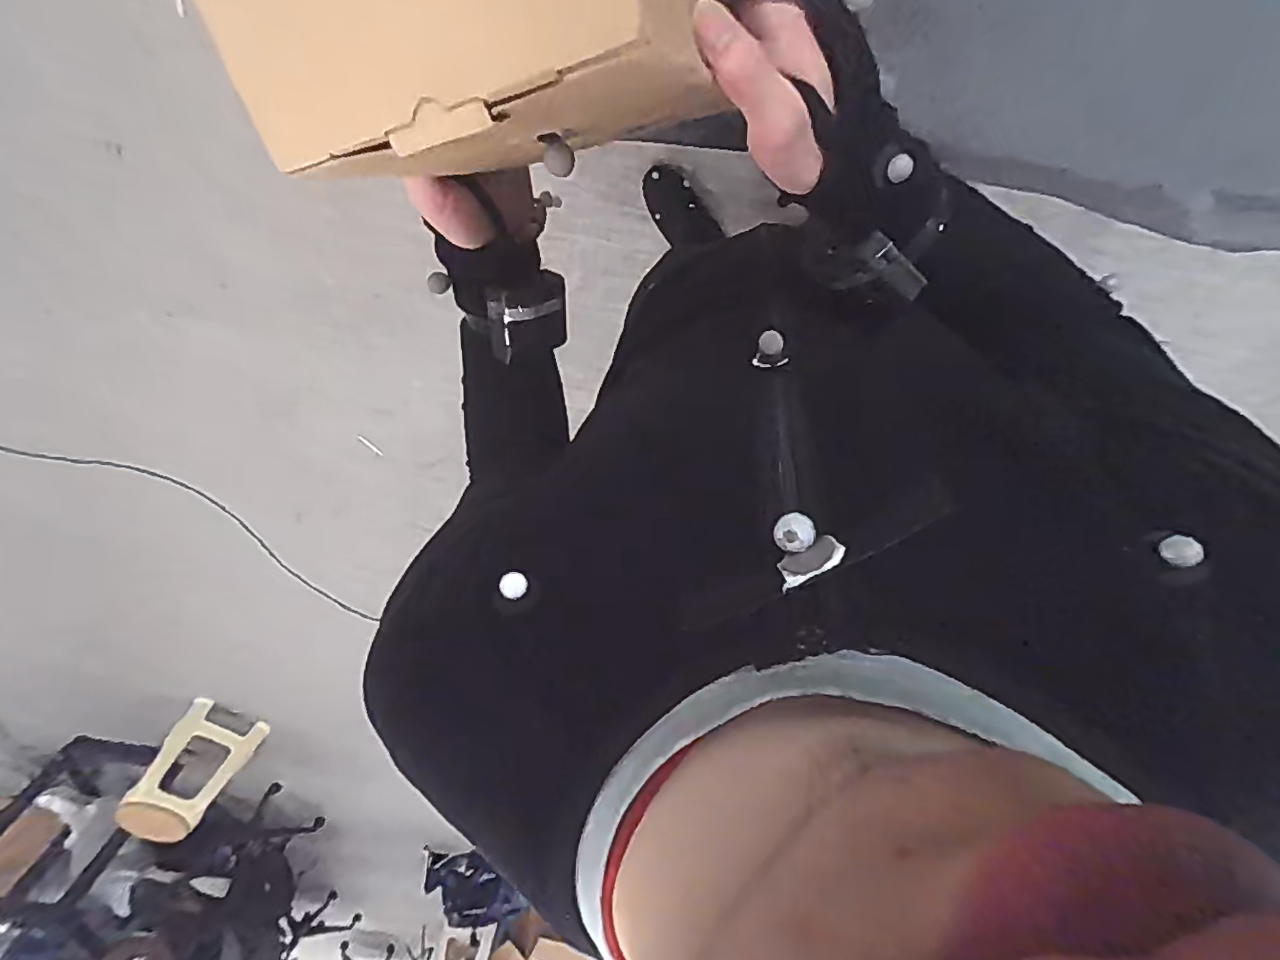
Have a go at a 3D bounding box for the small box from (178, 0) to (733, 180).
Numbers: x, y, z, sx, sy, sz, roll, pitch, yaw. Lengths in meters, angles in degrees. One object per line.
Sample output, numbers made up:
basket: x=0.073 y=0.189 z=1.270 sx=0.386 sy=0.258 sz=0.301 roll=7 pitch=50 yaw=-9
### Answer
small box: x=-0.066 y=-0.237 z=0.211 sx=0.168 sy=0.176 sz=0.179 roll=-2 pitch=119 yaw=22
